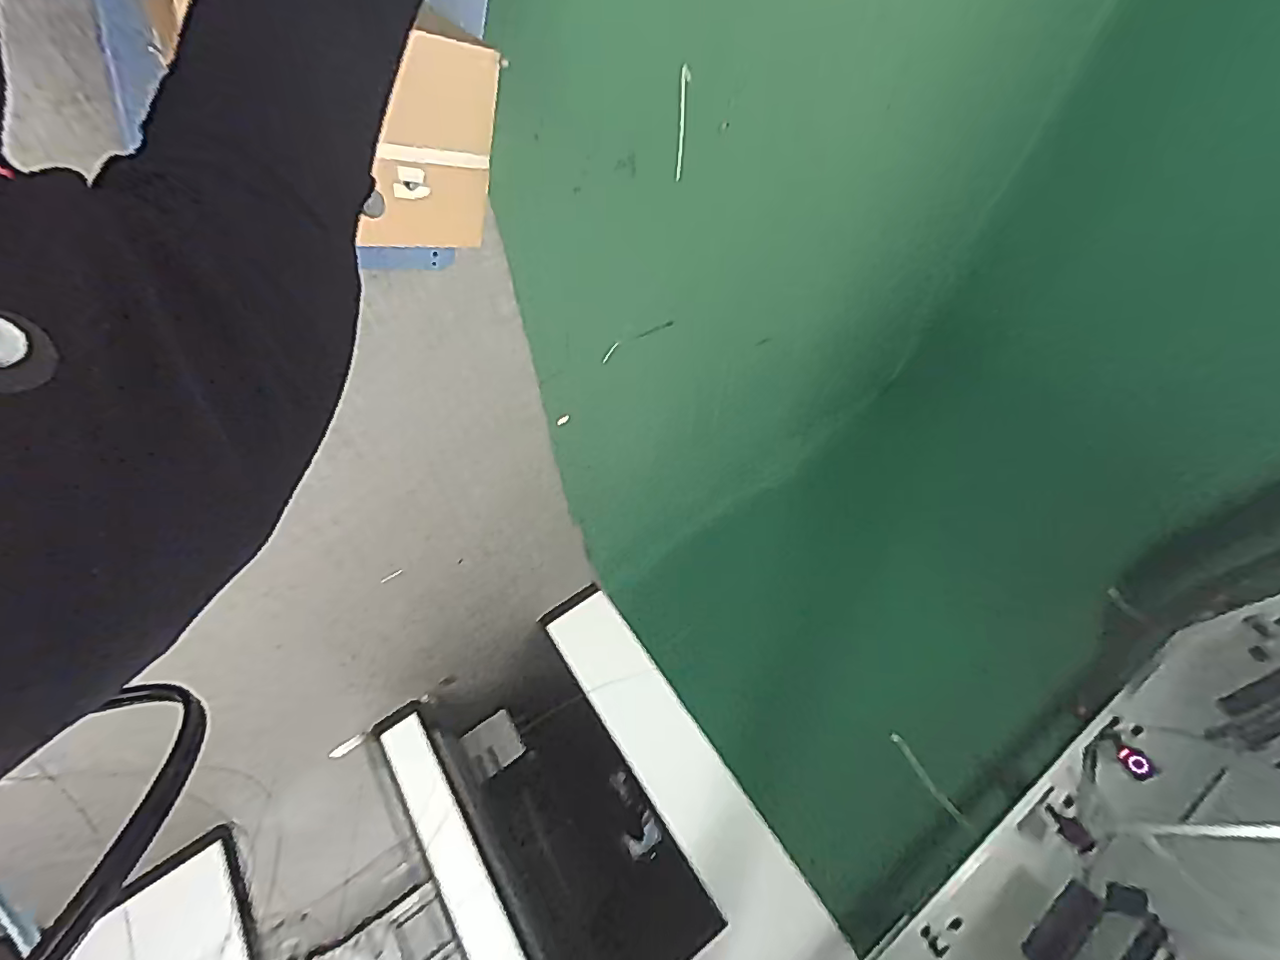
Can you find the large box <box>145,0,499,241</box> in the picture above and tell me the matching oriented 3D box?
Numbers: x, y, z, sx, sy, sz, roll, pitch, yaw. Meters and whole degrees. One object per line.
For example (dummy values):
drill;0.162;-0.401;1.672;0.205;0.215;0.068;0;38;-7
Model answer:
large box;-0.494;-0.608;0.868;0.408;0.320;0.320;-19;147;-37
